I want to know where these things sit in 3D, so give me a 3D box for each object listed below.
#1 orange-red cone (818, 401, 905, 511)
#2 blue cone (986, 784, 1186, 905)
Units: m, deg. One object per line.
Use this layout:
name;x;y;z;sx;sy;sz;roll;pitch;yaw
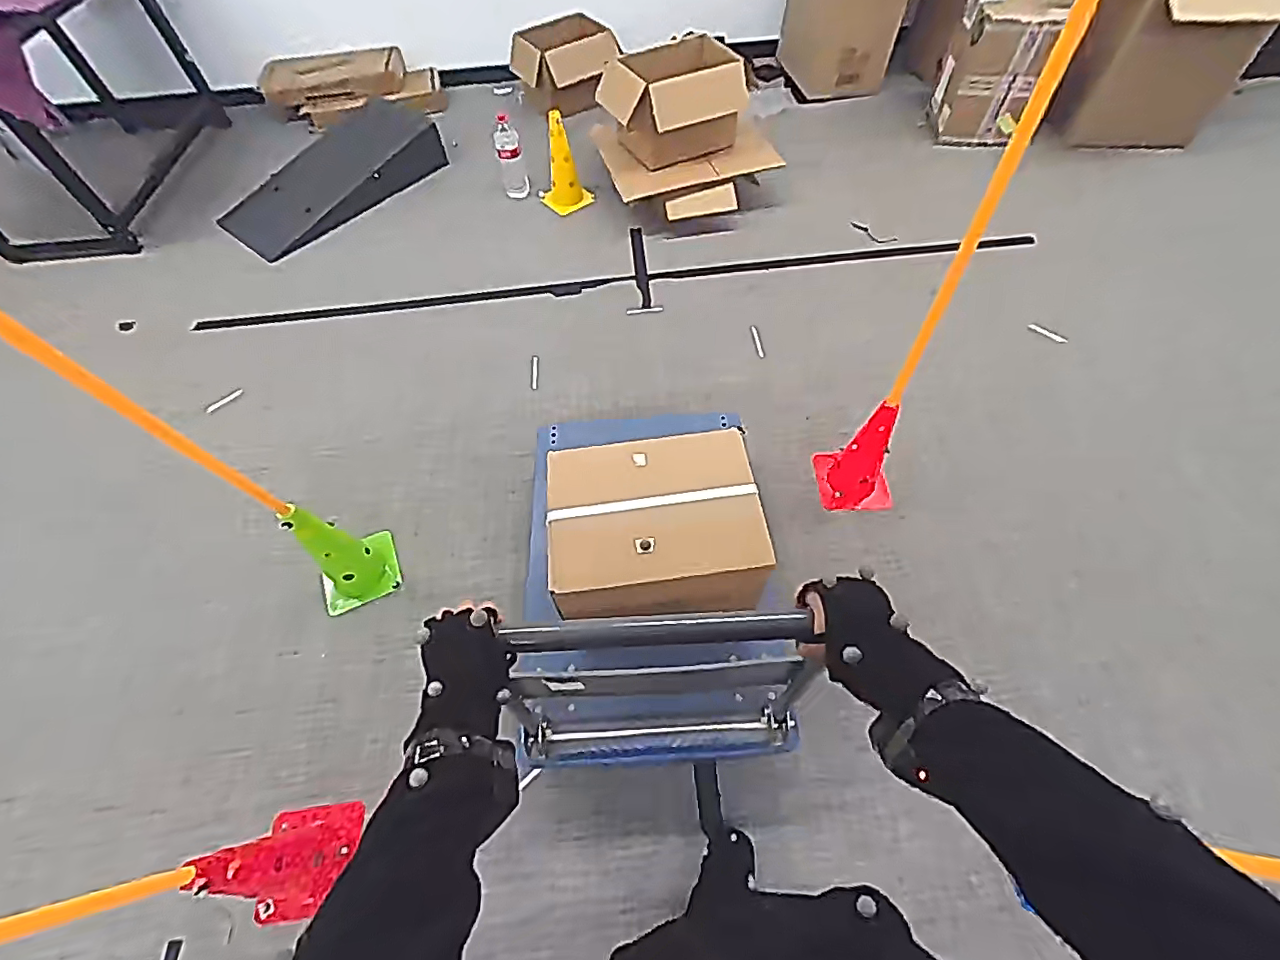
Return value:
orange-red cone;0.632;-0.087;1.459;0.199;0.360;0.198;0;58;2
blue cone;0.839;0.665;0.988;0.193;0.380;0.192;-9;56;-3
